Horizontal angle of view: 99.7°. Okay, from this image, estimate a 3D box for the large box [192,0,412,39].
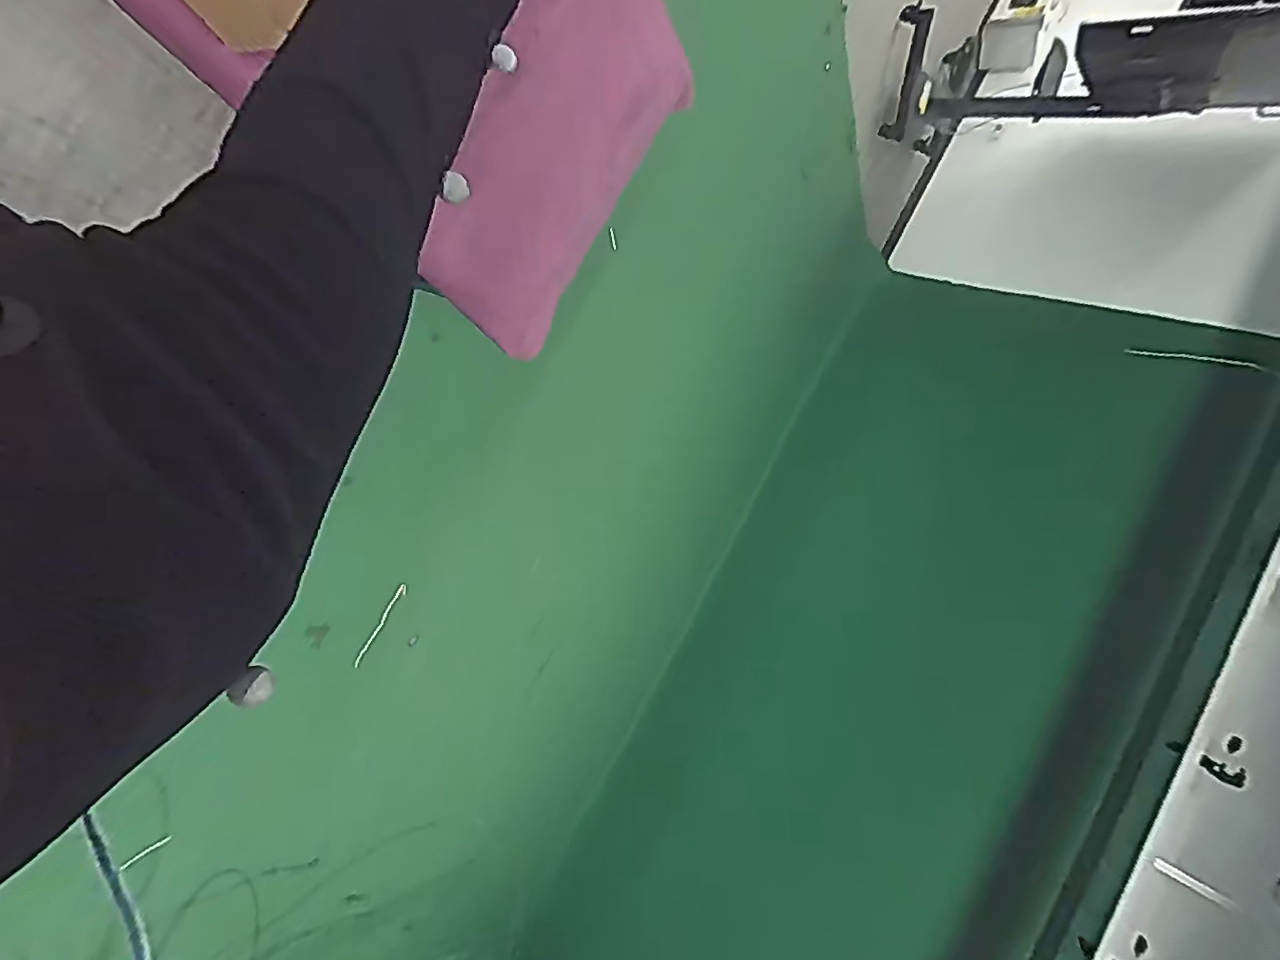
[{"bbox_3d":[-0.264,-0.619,0.382,0.408,0.320,0.320,-58,147,-8],"label":"large box"}]
